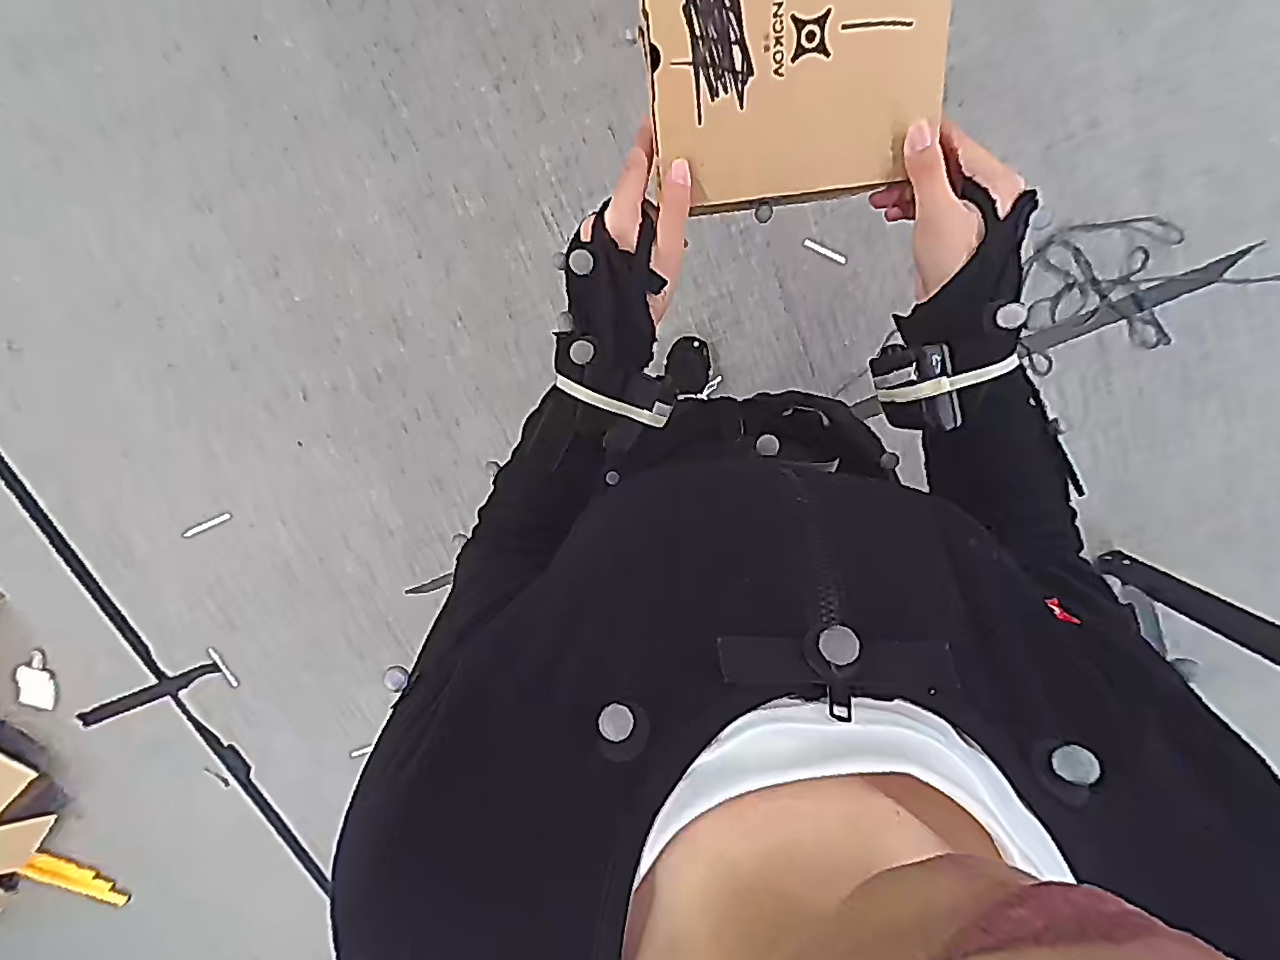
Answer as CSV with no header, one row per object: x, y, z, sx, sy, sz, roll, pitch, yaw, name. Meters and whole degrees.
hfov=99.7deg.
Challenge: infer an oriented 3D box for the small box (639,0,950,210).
0.091,-0.295,0.383,0.179,0.176,0.168,-5,113,3,small box
